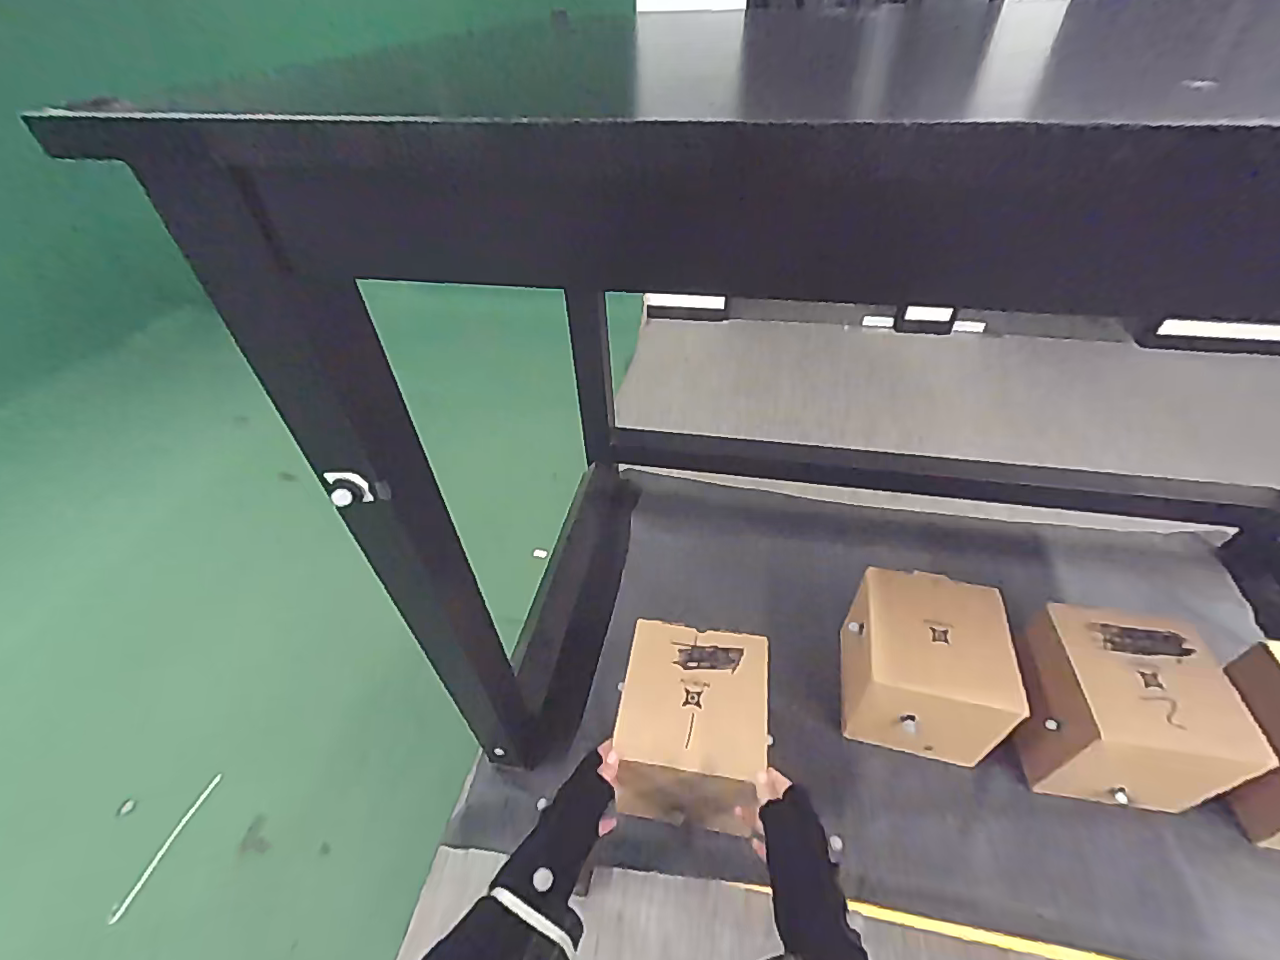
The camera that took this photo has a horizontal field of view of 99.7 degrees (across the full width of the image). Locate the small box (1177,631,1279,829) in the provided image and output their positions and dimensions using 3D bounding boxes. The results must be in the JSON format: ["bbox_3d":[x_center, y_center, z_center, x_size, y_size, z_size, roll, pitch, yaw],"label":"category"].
[{"bbox_3d":[0.809,0.305,0.631,0.168,0.176,0.179,5,44,8],"label":"small box"}]

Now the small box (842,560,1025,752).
[{"bbox_3d":[0.377,0.238,0.731,0.168,0.176,0.179,9,45,12],"label":"small box"}]

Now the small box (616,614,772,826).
[{"bbox_3d":[0.070,0.298,0.677,0.168,0.176,0.179,6,43,9],"label":"small box"}]
